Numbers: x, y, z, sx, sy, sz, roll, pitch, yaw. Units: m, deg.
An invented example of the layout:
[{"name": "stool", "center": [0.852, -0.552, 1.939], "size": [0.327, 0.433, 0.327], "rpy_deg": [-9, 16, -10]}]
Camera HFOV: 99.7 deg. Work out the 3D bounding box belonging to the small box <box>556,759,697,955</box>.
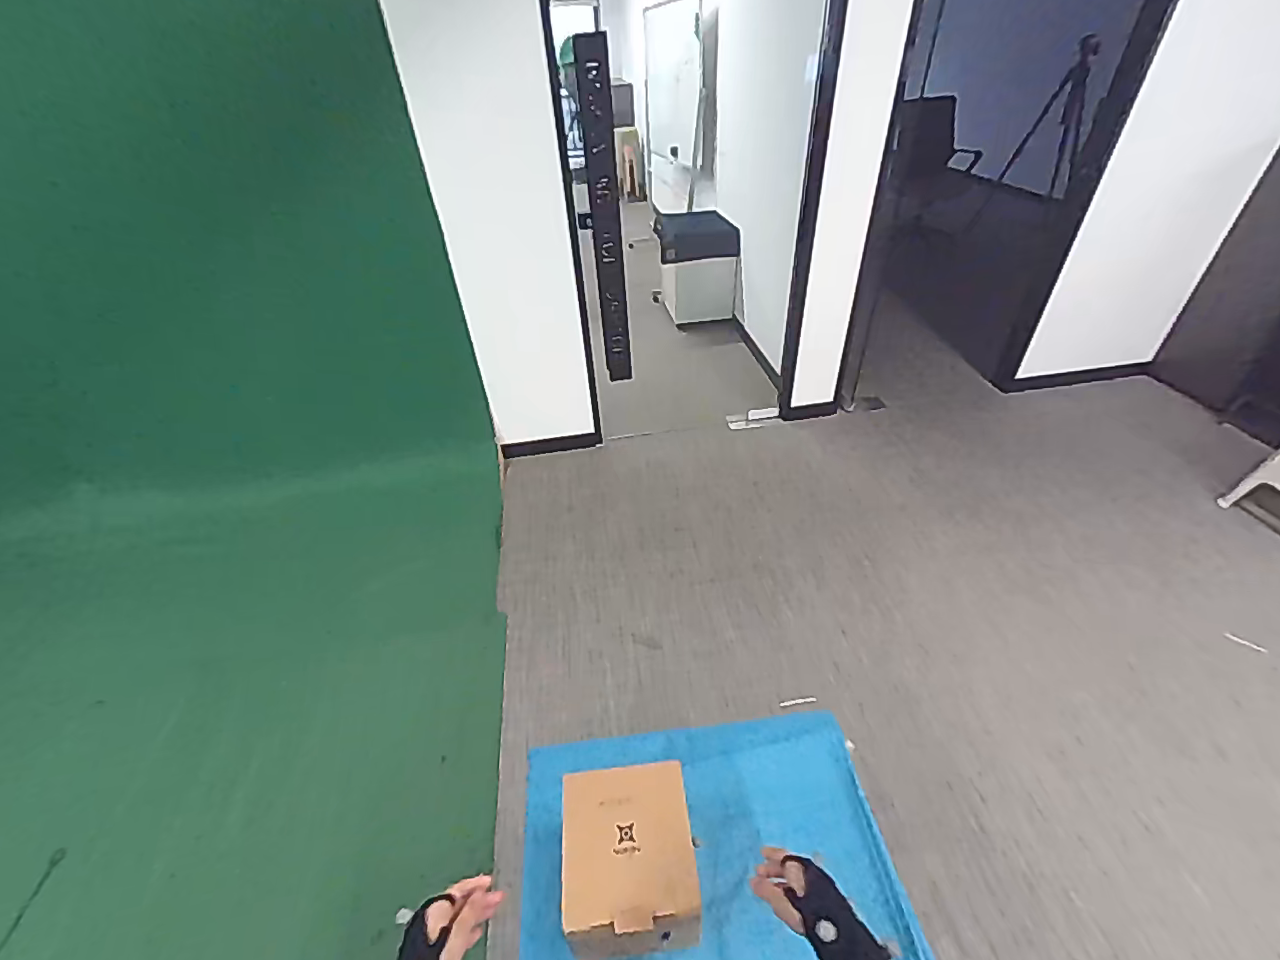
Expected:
[{"name": "small box", "center": [-0.017, 0.509, 0.728], "size": [0.168, 0.176, 0.179], "rpy_deg": [-4, 38, -3]}]
